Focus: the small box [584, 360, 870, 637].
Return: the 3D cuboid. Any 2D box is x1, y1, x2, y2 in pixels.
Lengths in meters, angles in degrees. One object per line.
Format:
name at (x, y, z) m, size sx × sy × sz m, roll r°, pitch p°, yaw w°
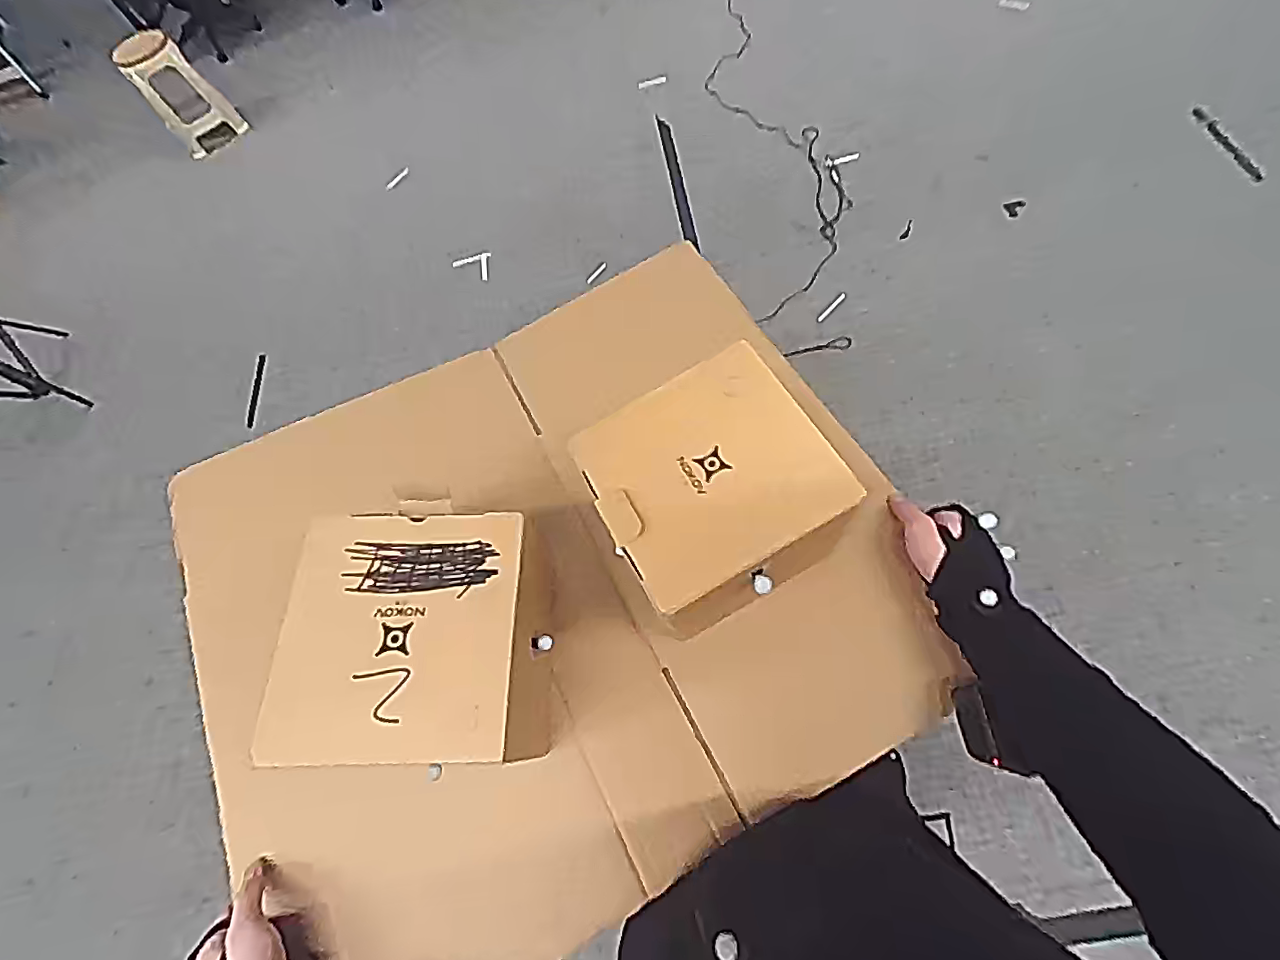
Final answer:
small box at (0.074, 0.029, 0.503) m, size 0.179 × 0.176 × 0.168 m, roll -29°, pitch 67°, yaw -2°
